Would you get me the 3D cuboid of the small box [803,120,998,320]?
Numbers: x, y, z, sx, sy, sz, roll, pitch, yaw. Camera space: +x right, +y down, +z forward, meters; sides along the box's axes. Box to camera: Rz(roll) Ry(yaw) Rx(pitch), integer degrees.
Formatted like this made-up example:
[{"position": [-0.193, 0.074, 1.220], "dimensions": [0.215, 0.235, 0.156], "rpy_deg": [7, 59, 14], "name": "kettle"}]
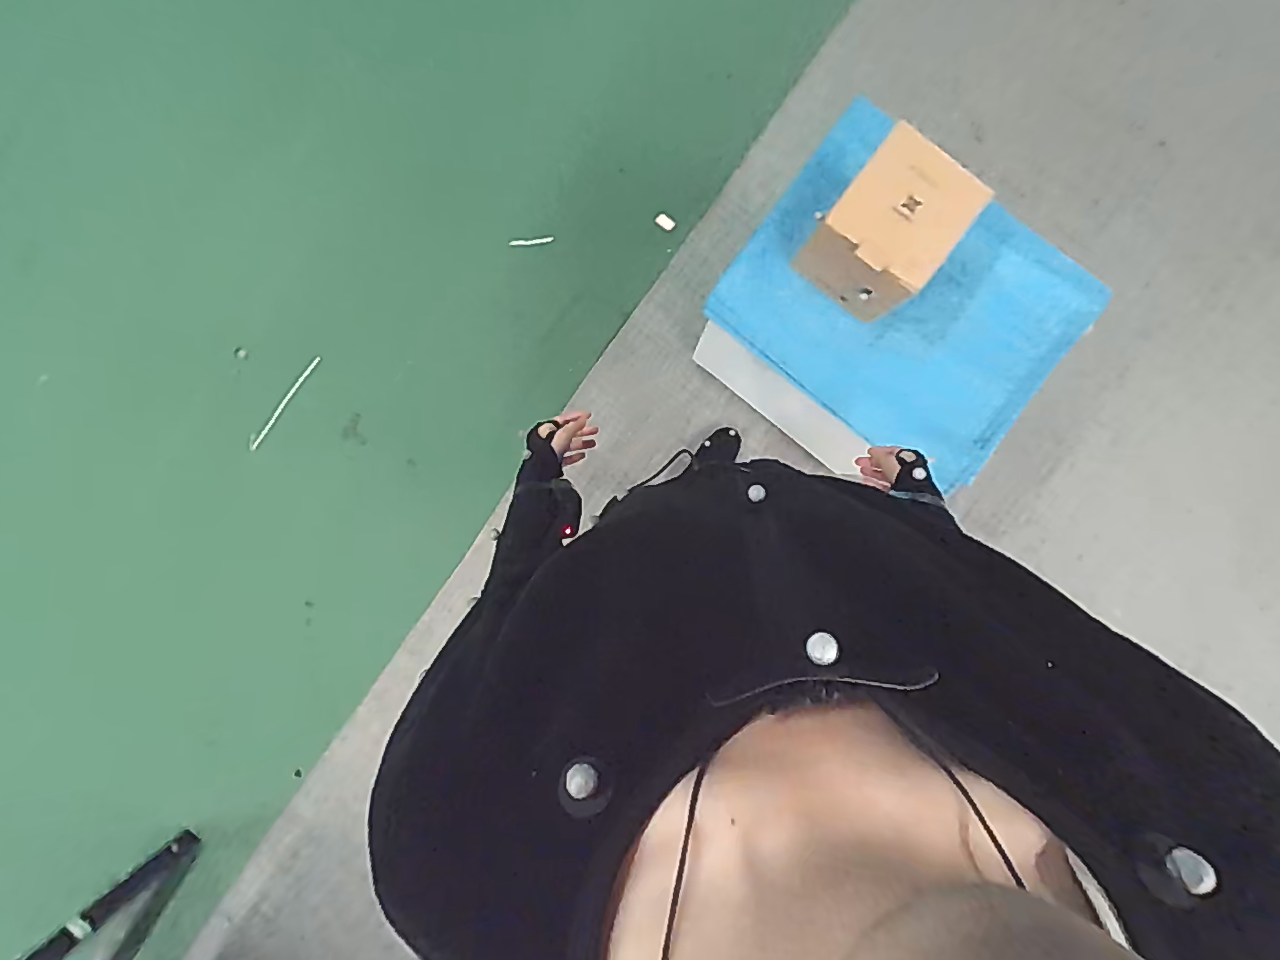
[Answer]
[{"position": [0.367, -0.369, 0.807], "dimensions": [0.168, 0.176, 0.179], "rpy_deg": [39, 90, -2], "name": "small box"}]
